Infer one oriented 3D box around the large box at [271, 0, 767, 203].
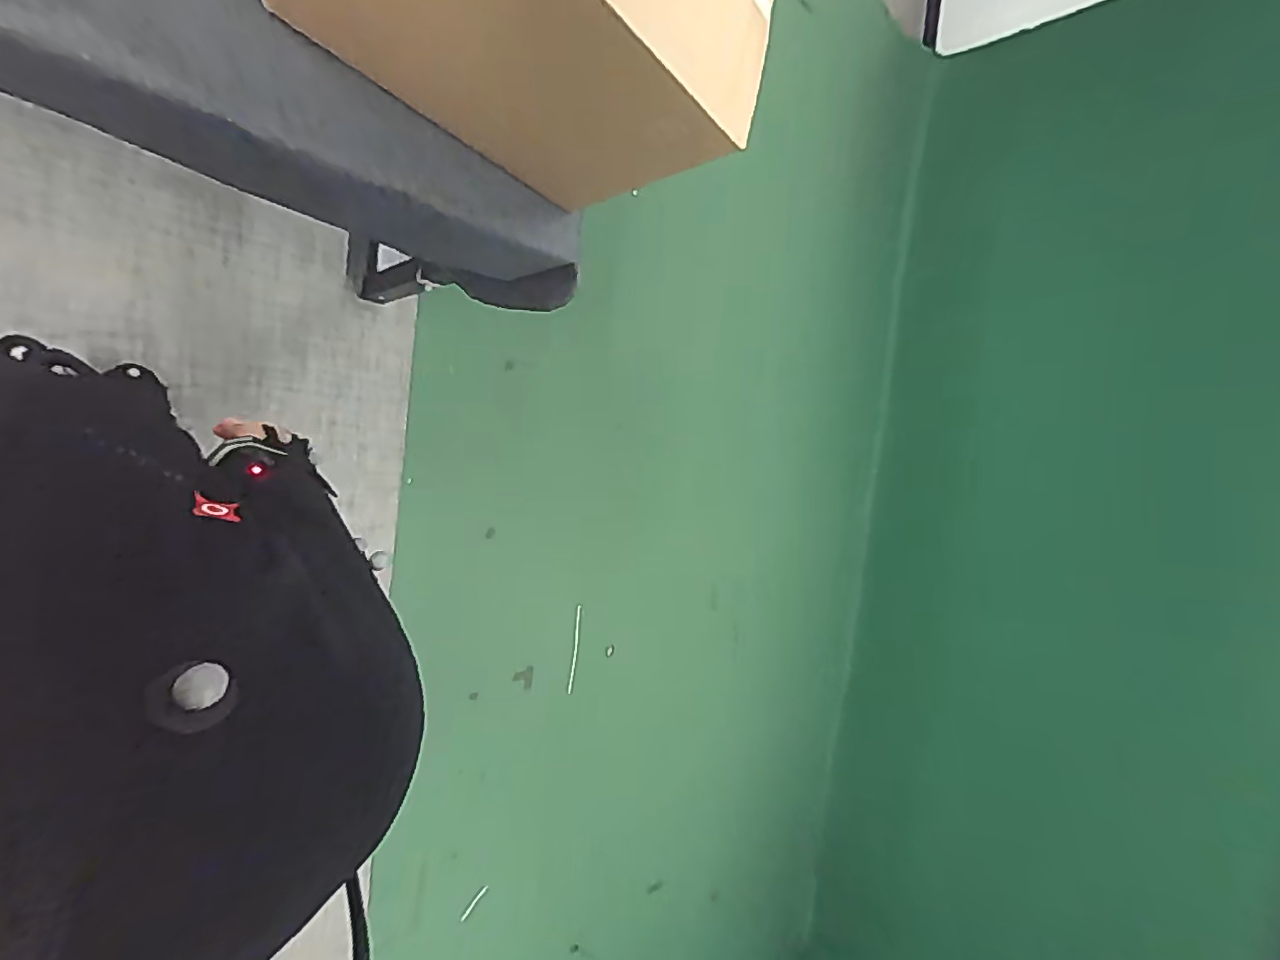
[{"bbox_3d":[-0.102,-0.570,0.572,0.408,0.320,0.320,13,88,-48],"label":"large box"}]
